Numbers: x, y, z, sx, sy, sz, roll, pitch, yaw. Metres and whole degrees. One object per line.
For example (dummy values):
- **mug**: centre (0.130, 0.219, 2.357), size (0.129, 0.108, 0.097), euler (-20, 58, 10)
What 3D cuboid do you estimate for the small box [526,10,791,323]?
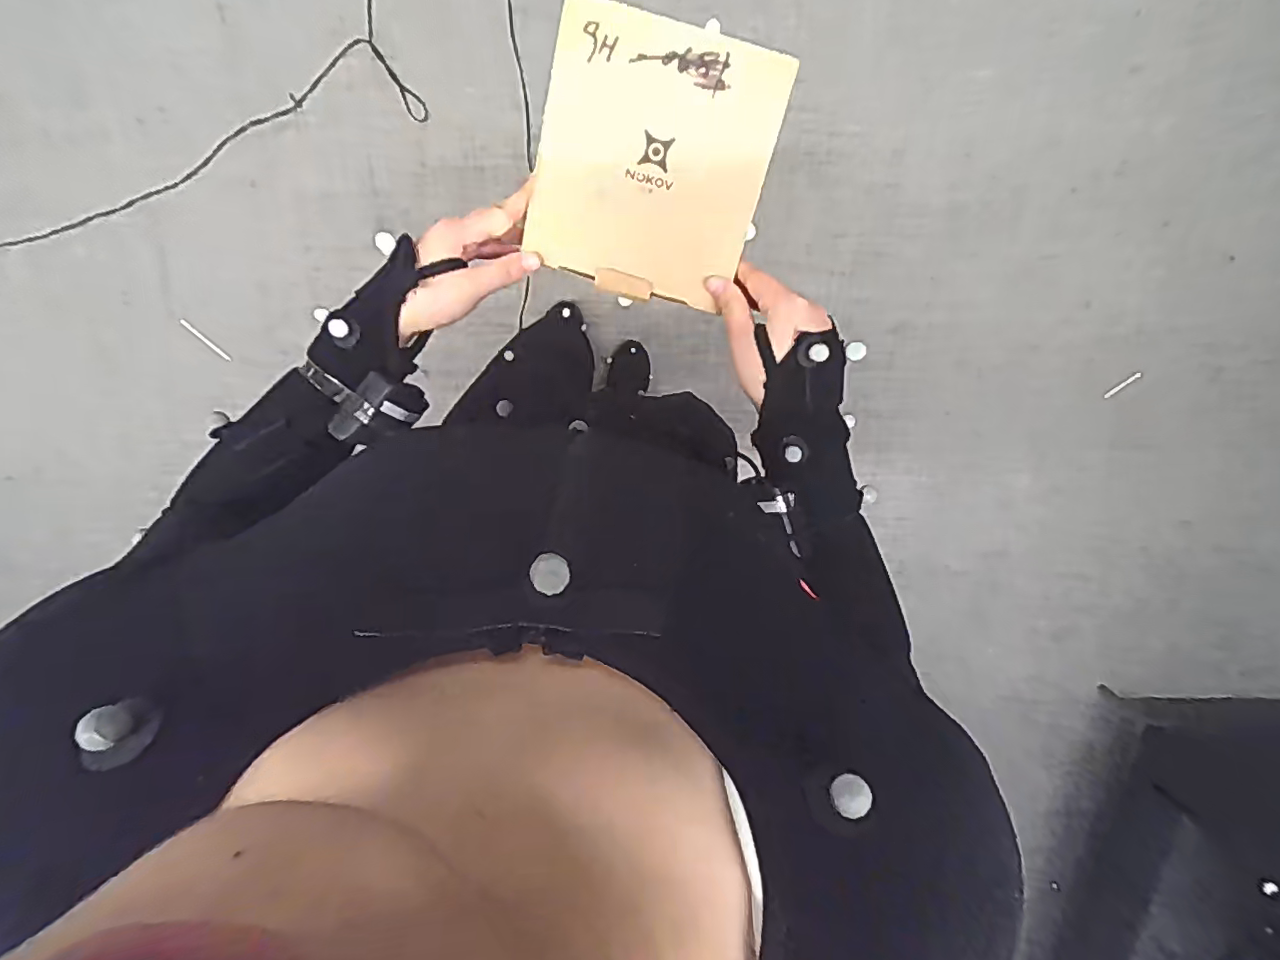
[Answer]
- **small box**: centre (0.012, -0.254, 0.480), size (0.168, 0.176, 0.179), euler (15, 111, -3)
